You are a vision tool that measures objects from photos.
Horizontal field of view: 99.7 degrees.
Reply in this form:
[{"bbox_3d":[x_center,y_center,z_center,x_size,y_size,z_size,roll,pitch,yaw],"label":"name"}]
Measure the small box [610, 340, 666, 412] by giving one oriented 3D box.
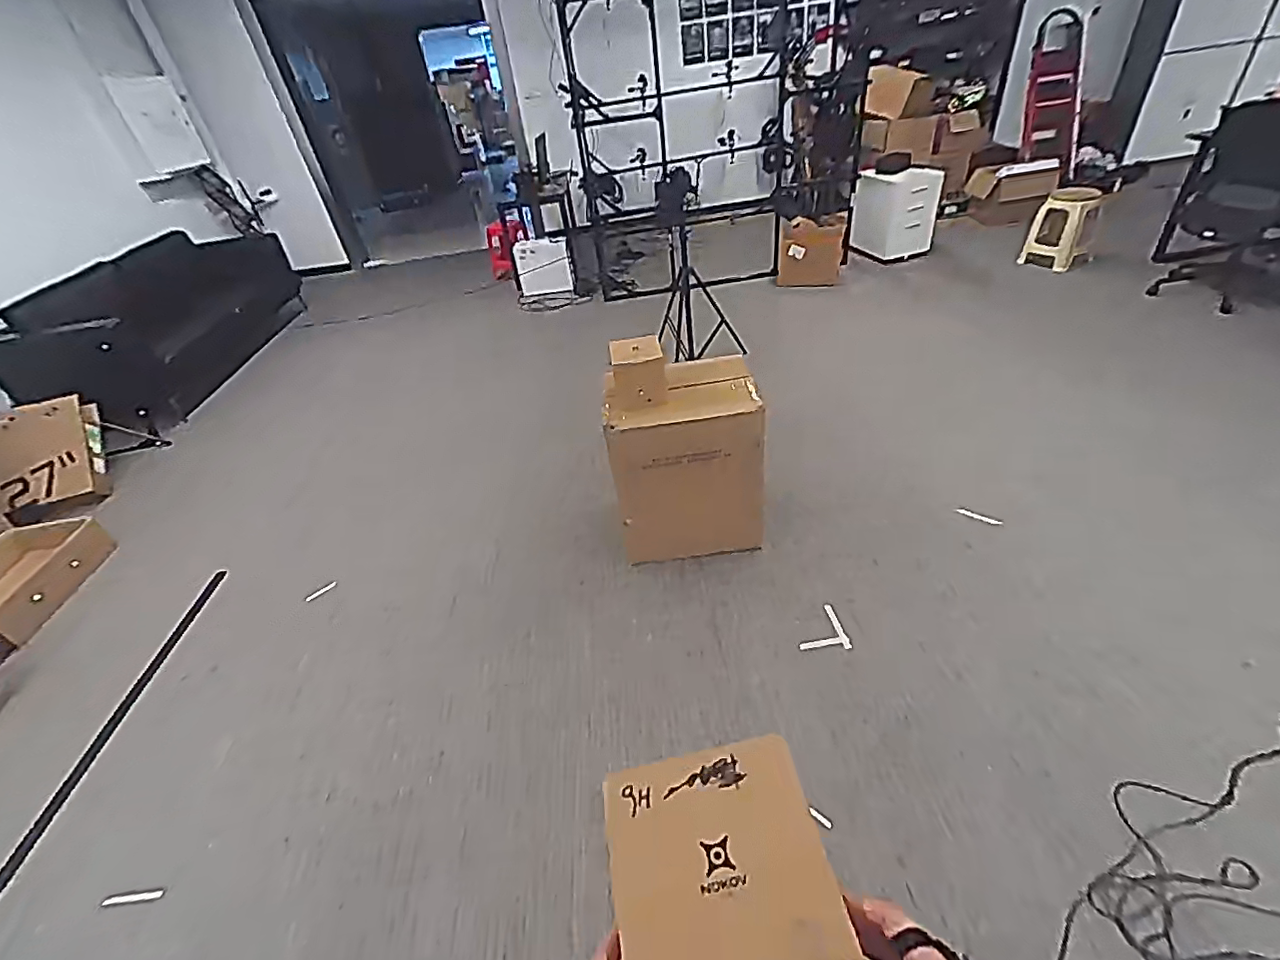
[{"bbox_3d":[-0.009,-0.351,1.817,0.168,0.176,0.179,-9,39,0],"label":"small box"}]
